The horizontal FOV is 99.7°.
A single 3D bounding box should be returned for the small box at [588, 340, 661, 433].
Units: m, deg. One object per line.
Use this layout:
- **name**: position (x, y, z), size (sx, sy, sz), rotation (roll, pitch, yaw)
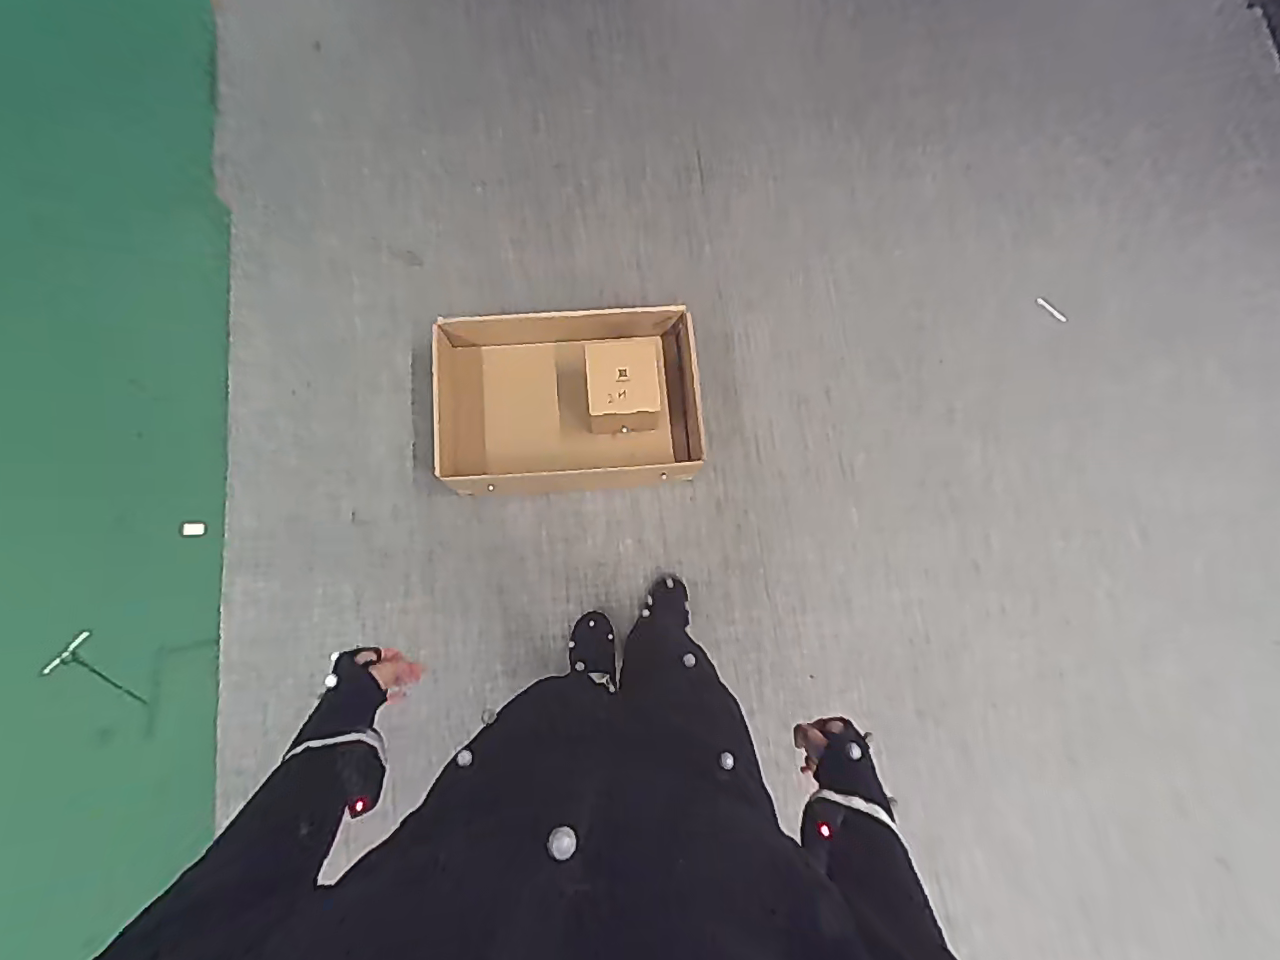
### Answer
- **small box**: position (-0.041, -0.225, 1.326), size (0.168, 0.176, 0.179), rotation (-4, 80, -2)
